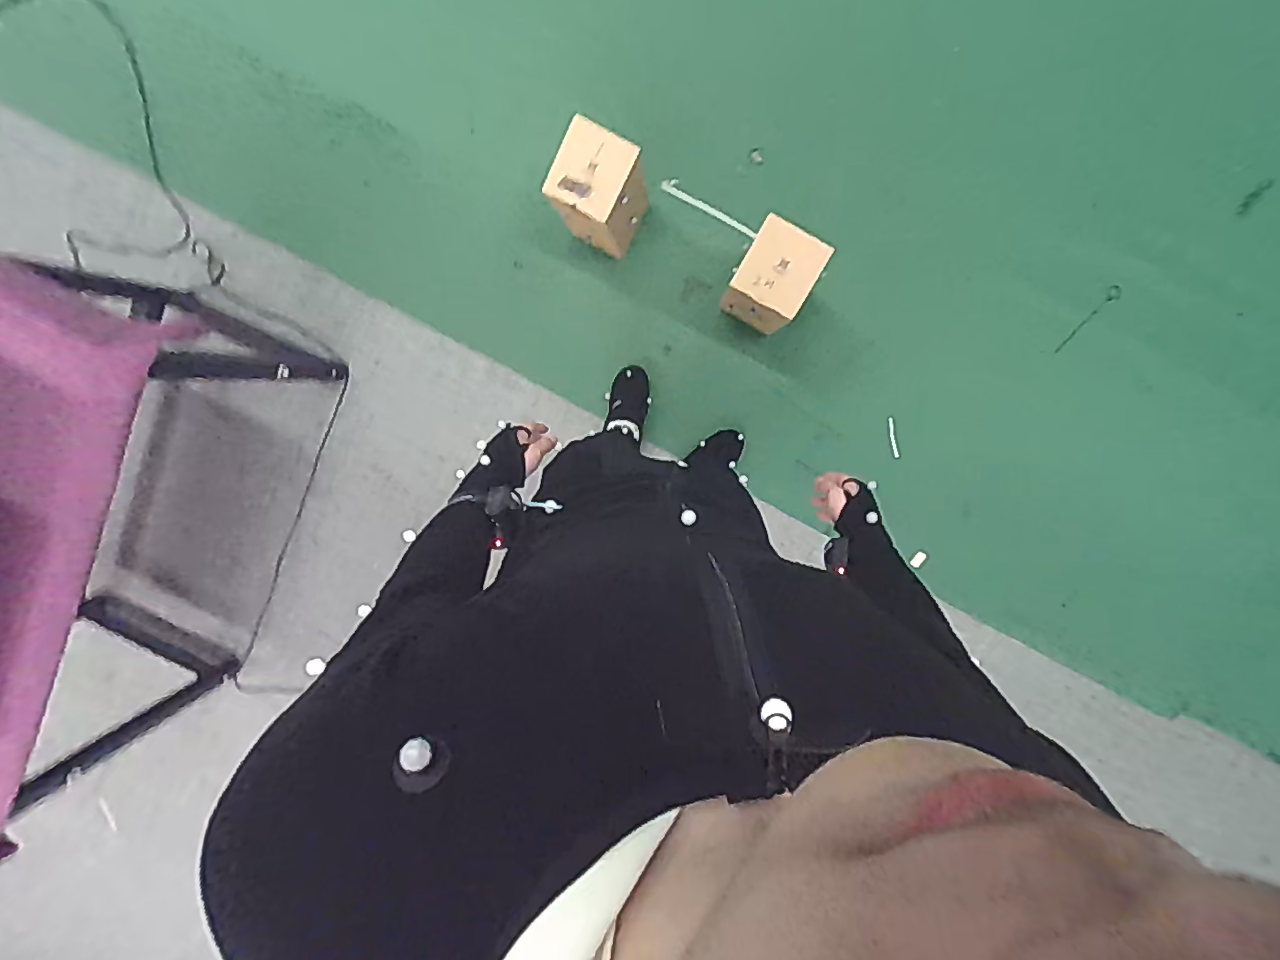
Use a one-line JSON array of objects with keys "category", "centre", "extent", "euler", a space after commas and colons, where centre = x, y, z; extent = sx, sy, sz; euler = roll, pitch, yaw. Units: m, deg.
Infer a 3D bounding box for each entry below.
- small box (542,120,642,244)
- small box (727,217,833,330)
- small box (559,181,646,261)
[{"category": "small box", "centre": [-0.105, -0.691, 1.279], "extent": [0.168, 0.176, 0.179], "euler": [28, 100, 0]}, {"category": "small box", "centre": [0.318, -0.476, 1.275], "extent": [0.168, 0.176, 0.179], "euler": [30, 101, 0]}, {"category": "small box", "centre": [-0.092, -0.716, 1.441], "extent": [0.168, 0.176, 0.179], "euler": [28, 101, 0]}]
